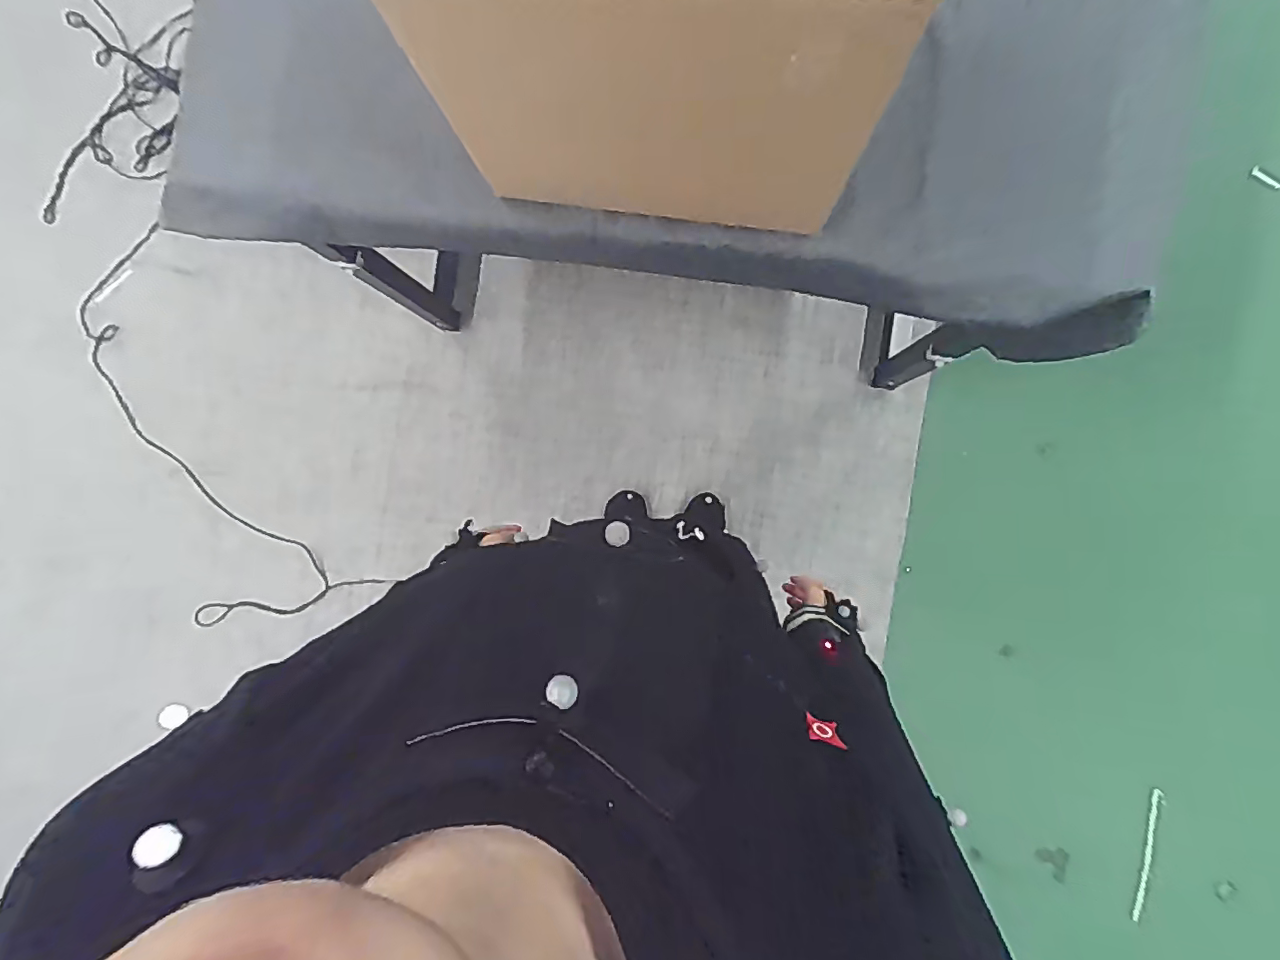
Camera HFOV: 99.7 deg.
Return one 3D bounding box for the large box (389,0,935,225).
[{"bbox_3d":[0.028,-0.480,0.511,0.408,0.320,0.320,8,89,4],"label":"large box"}]
